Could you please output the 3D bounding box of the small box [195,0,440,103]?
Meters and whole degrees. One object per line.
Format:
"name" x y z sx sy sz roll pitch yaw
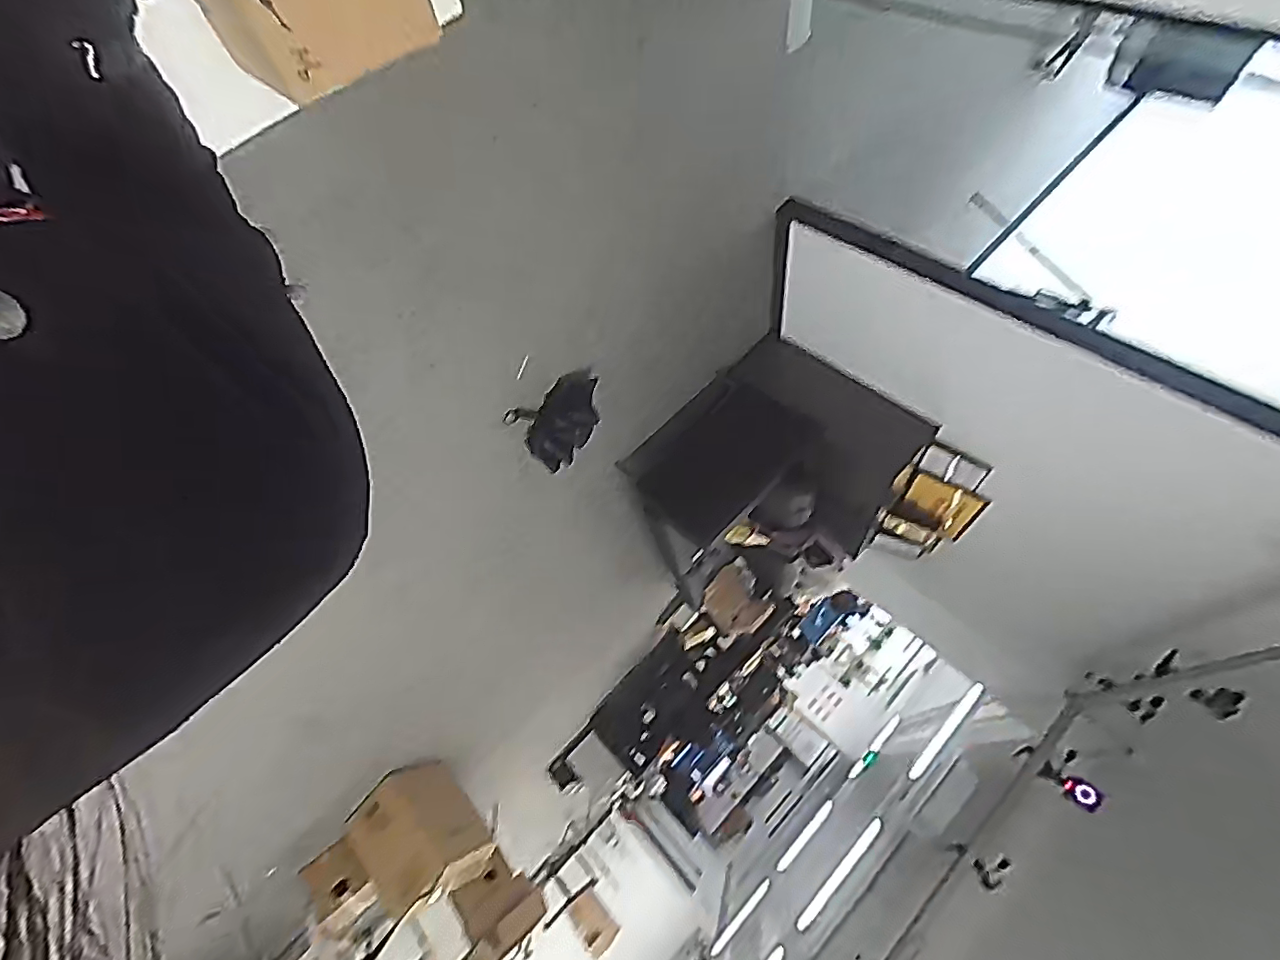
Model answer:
"small box" -0.338 -0.511 0.522 0.179 0.176 0.168 -42 152 -17
